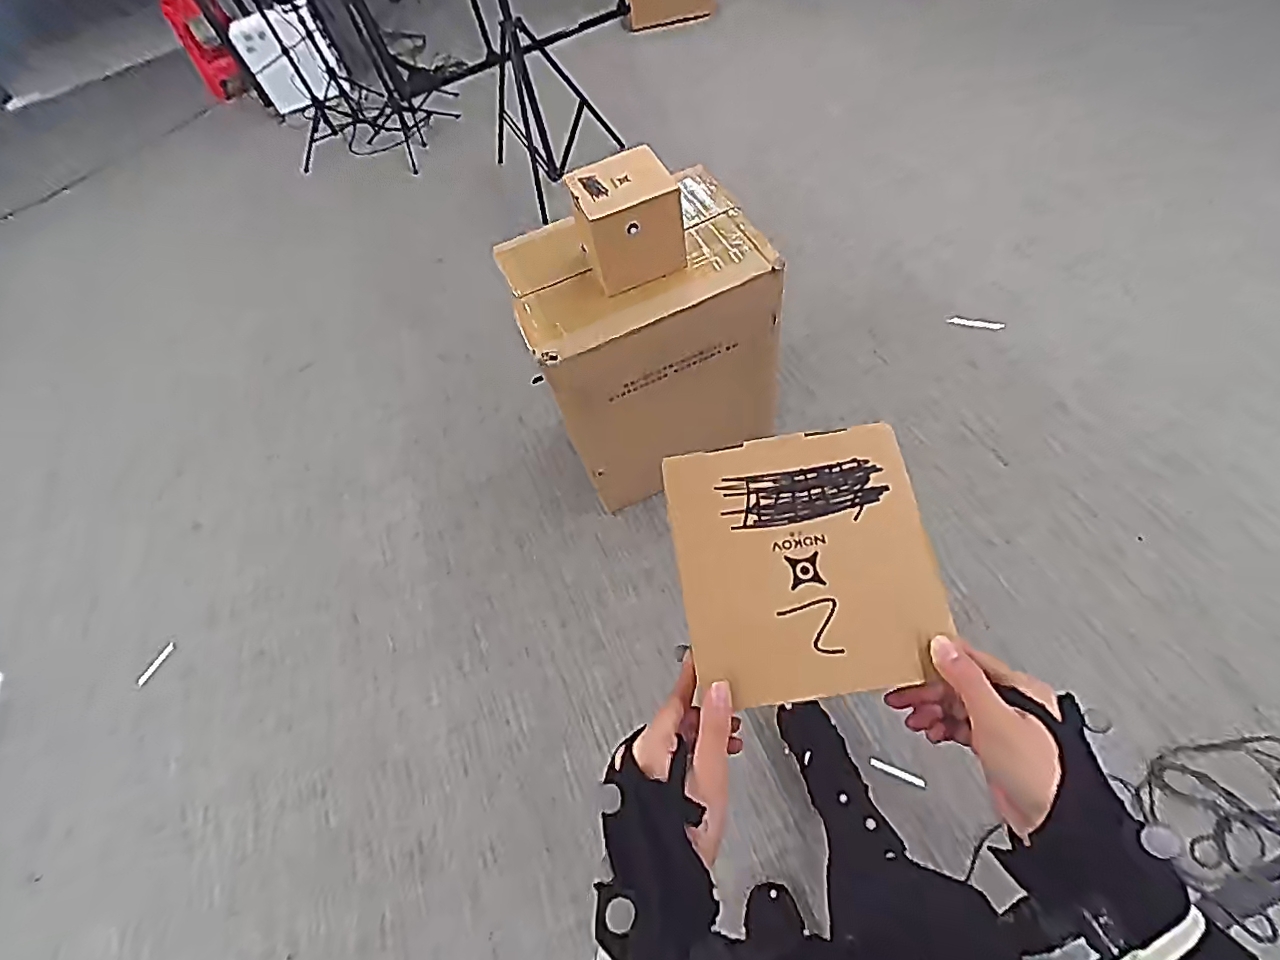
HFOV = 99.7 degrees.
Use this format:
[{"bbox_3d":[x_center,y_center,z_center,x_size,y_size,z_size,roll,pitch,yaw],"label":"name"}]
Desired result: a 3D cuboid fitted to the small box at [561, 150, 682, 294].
[{"bbox_3d":[-0.030,-0.495,1.054,0.179,0.176,0.168,-23,59,-4],"label":"small box"}]
